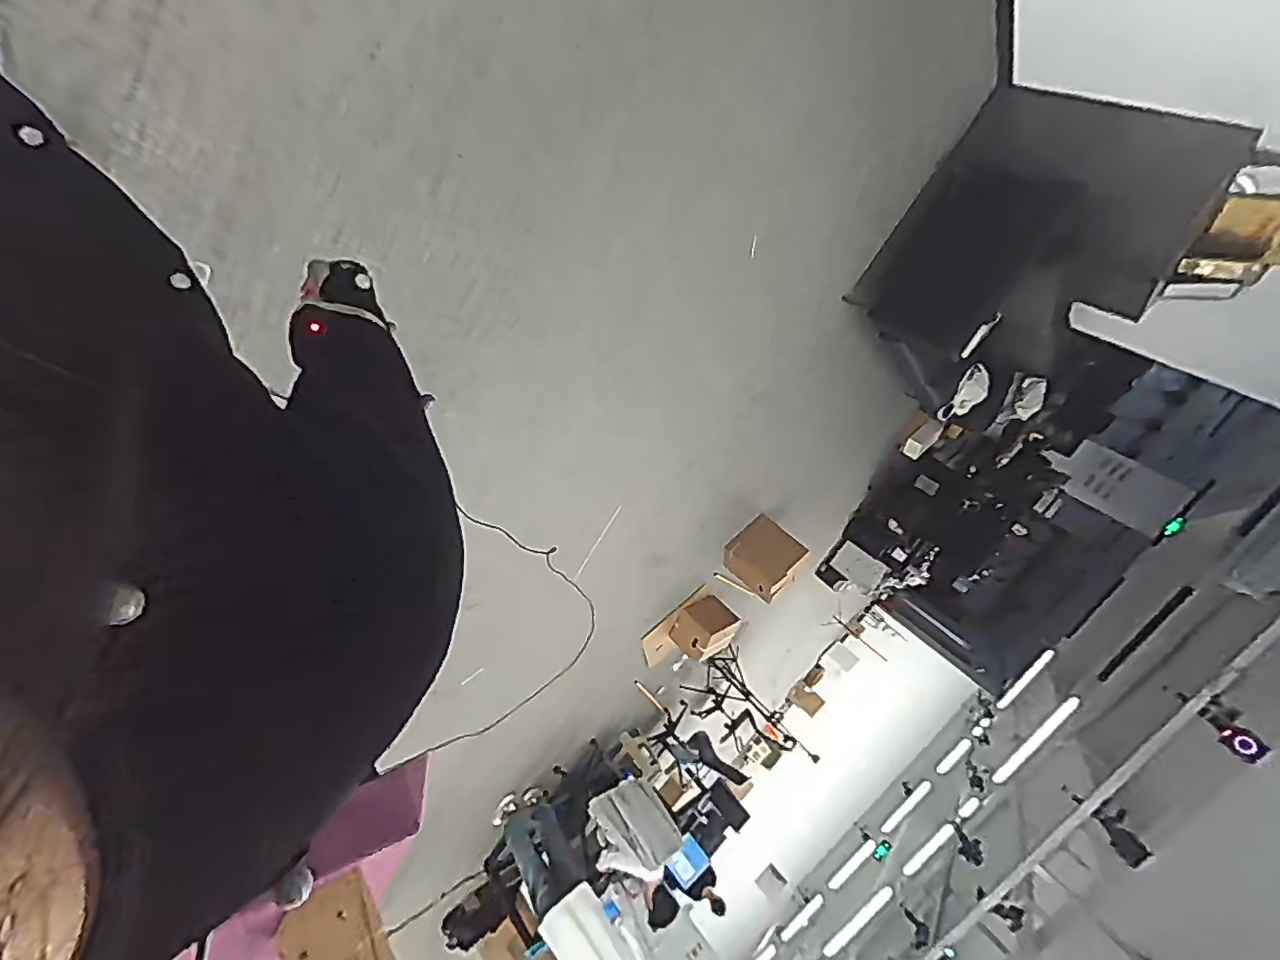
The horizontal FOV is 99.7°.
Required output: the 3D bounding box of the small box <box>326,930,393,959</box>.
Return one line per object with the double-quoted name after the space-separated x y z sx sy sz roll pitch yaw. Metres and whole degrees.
-0.711 1.278 1.333 0.168 0.176 0.179 8 118 -55 "small box"
